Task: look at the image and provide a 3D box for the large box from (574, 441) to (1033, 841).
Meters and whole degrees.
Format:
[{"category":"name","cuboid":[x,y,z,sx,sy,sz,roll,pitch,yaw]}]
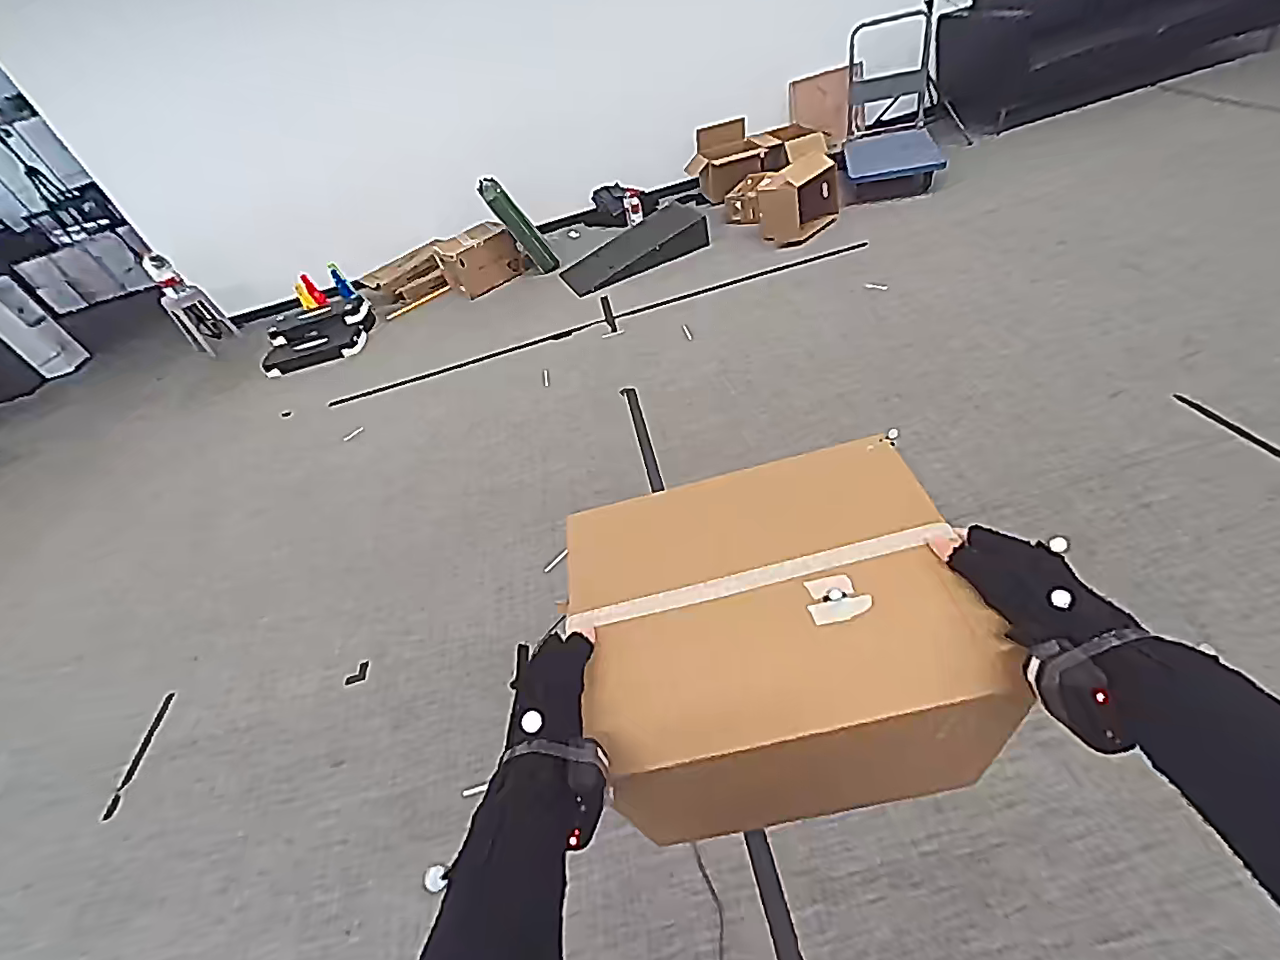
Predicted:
[{"category":"large box","cuboid":[0.158,0.207,0.680,0.408,0.320,0.320,-15,46,4]}]
